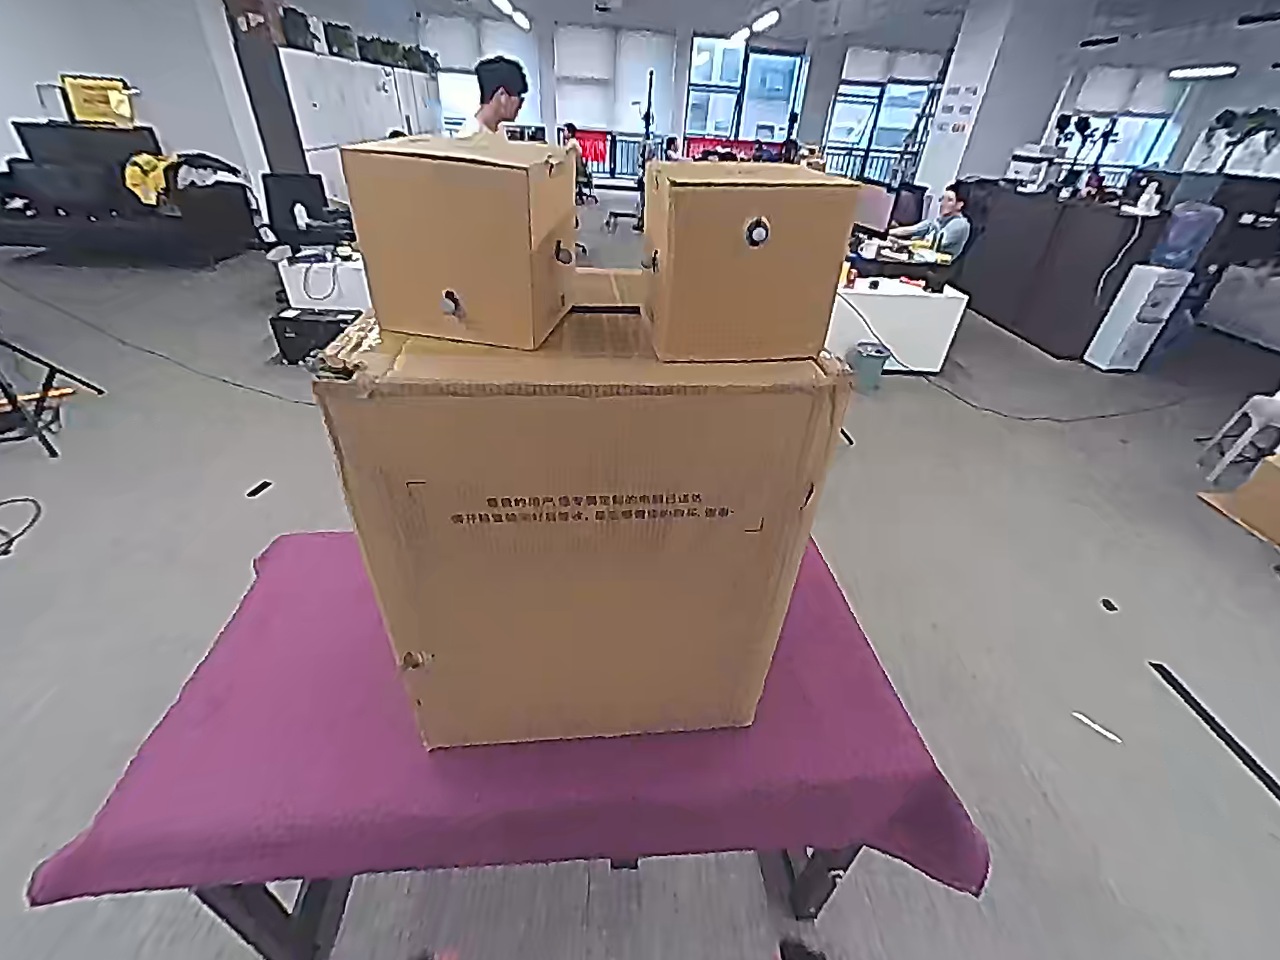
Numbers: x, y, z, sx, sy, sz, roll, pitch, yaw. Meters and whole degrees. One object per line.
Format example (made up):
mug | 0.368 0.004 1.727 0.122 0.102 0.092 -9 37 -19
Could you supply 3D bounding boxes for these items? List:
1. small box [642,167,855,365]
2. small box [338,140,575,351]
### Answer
small box | 0.096 -0.230 0.579 0.179 0.176 0.168 -2 36 -7
small box | -0.174 -0.250 0.577 0.179 0.176 0.168 9 36 5
